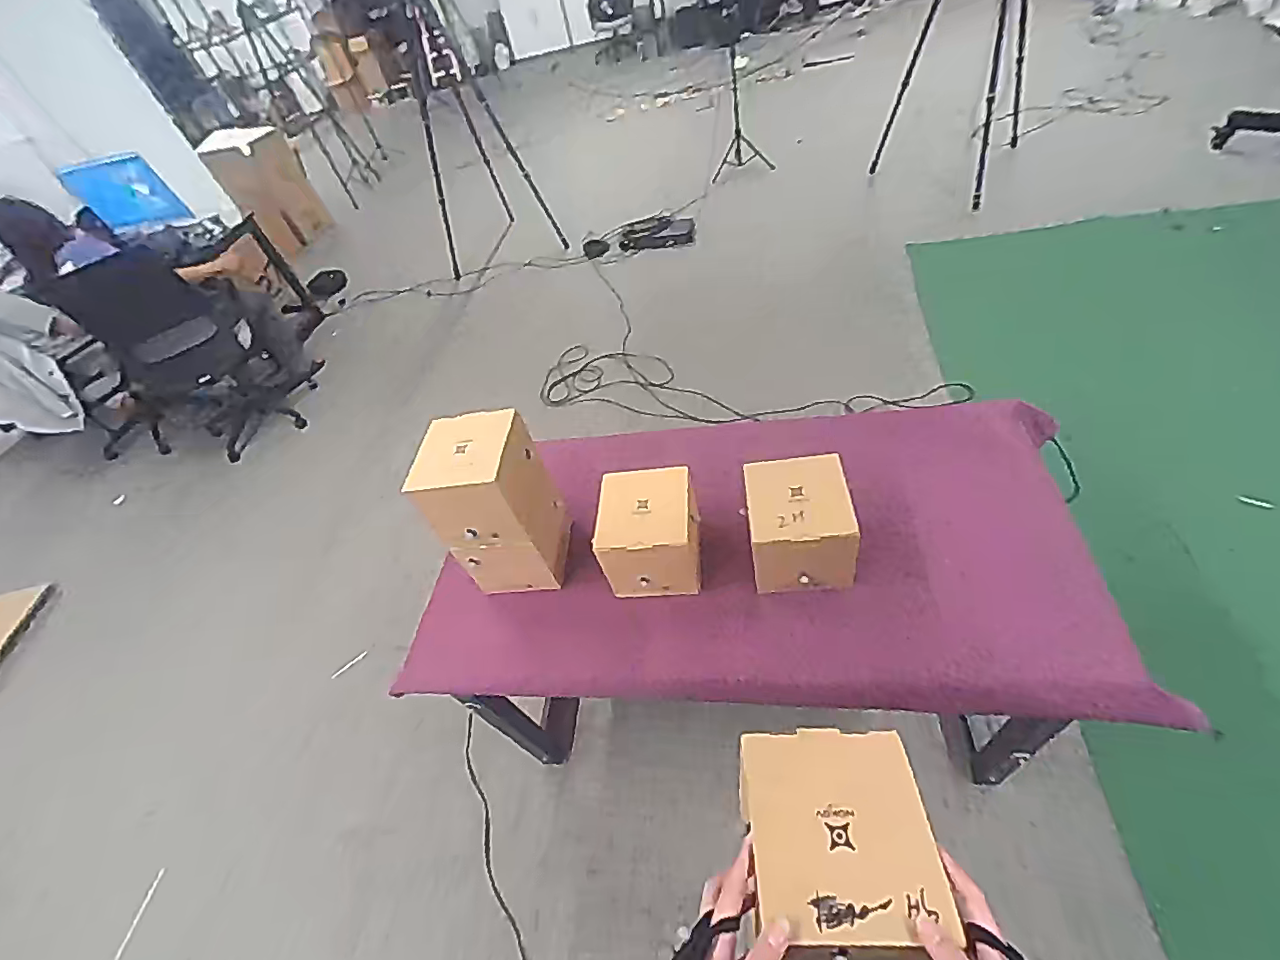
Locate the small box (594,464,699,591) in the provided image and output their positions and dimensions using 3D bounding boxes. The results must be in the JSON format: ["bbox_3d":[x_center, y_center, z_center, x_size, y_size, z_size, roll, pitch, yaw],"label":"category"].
[{"bbox_3d":[0.020,0.092,1.023,0.168,0.176,0.179,-4,50,11],"label":"small box"}]

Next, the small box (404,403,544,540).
[{"bbox_3d":[-0.283,-0.013,0.970,0.168,0.176,0.179,-5,49,11],"label":"small box"}]

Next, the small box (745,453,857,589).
[{"bbox_3d":[0.278,0.076,0.966,0.168,0.176,0.179,-6,49,11],"label":"small box"}]

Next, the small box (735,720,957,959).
[{"bbox_3d":[0.191,0.375,0.566,0.168,0.176,0.179,-3,42,5],"label":"small box"}]
